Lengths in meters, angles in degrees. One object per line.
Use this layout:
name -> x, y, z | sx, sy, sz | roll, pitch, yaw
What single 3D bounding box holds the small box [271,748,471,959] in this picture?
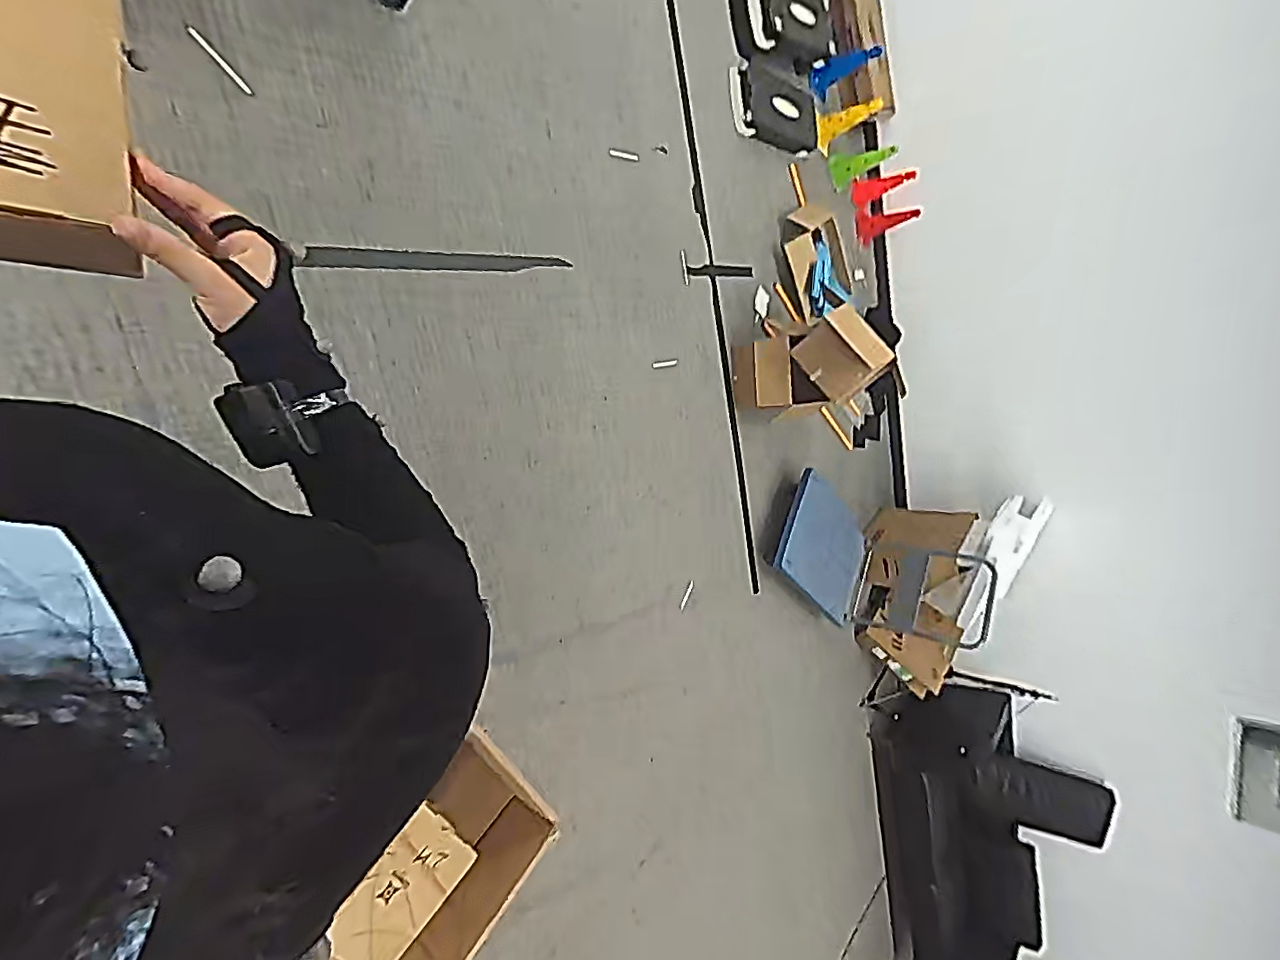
small box -> -0.380, 0.522, 0.759 | 0.179, 0.176, 0.168 | -44, 119, -35
